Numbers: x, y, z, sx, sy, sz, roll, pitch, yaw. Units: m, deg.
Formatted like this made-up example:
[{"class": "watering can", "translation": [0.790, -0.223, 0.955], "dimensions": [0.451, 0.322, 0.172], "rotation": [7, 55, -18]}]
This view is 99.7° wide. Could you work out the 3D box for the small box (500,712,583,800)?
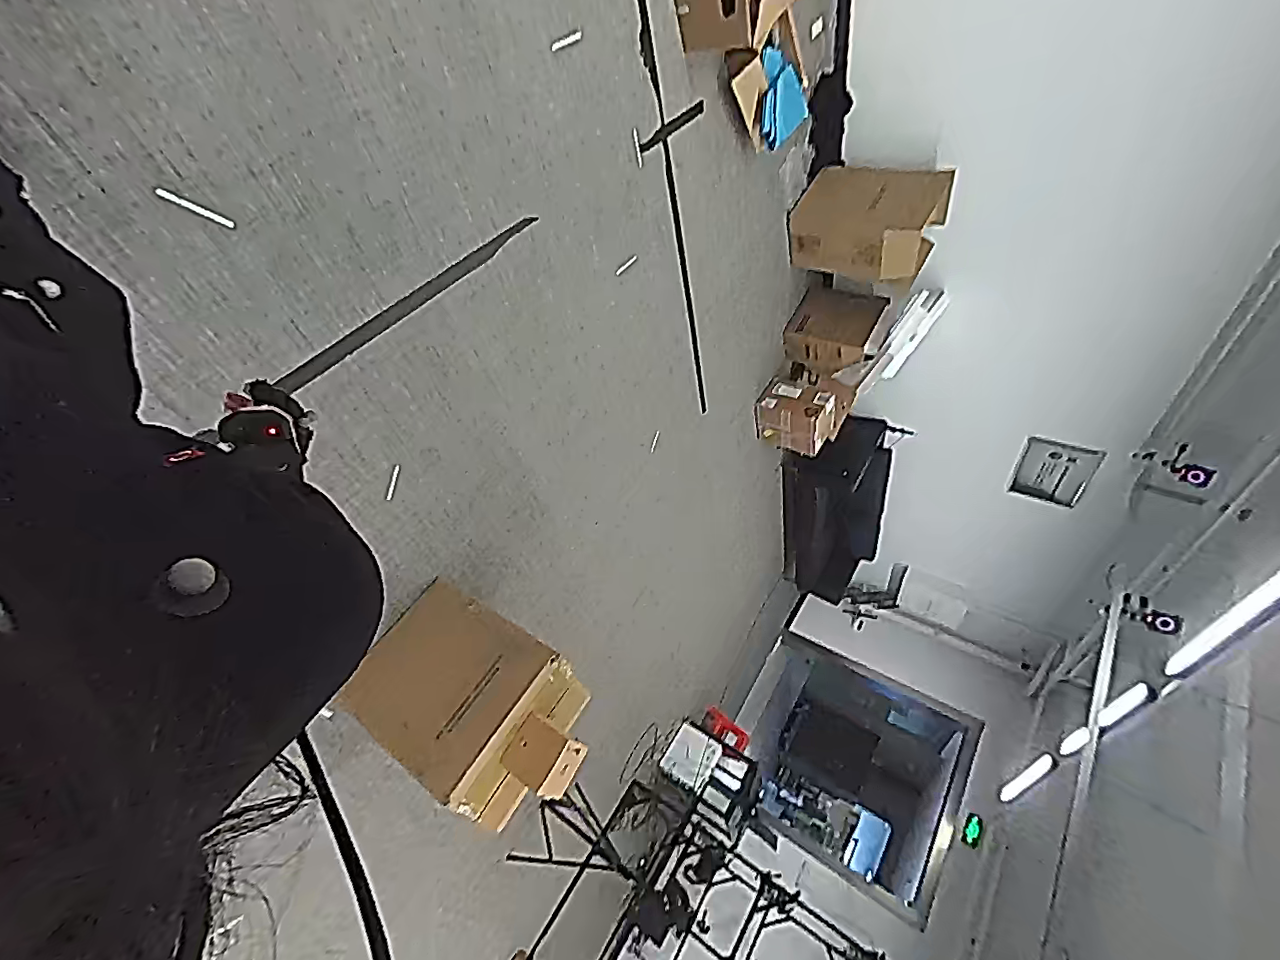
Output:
[{"class": "small box", "translation": [-0.317, 0.869, 1.707], "dimensions": [0.179, 0.176, 0.168], "rotation": [-55, 147, -20]}]
